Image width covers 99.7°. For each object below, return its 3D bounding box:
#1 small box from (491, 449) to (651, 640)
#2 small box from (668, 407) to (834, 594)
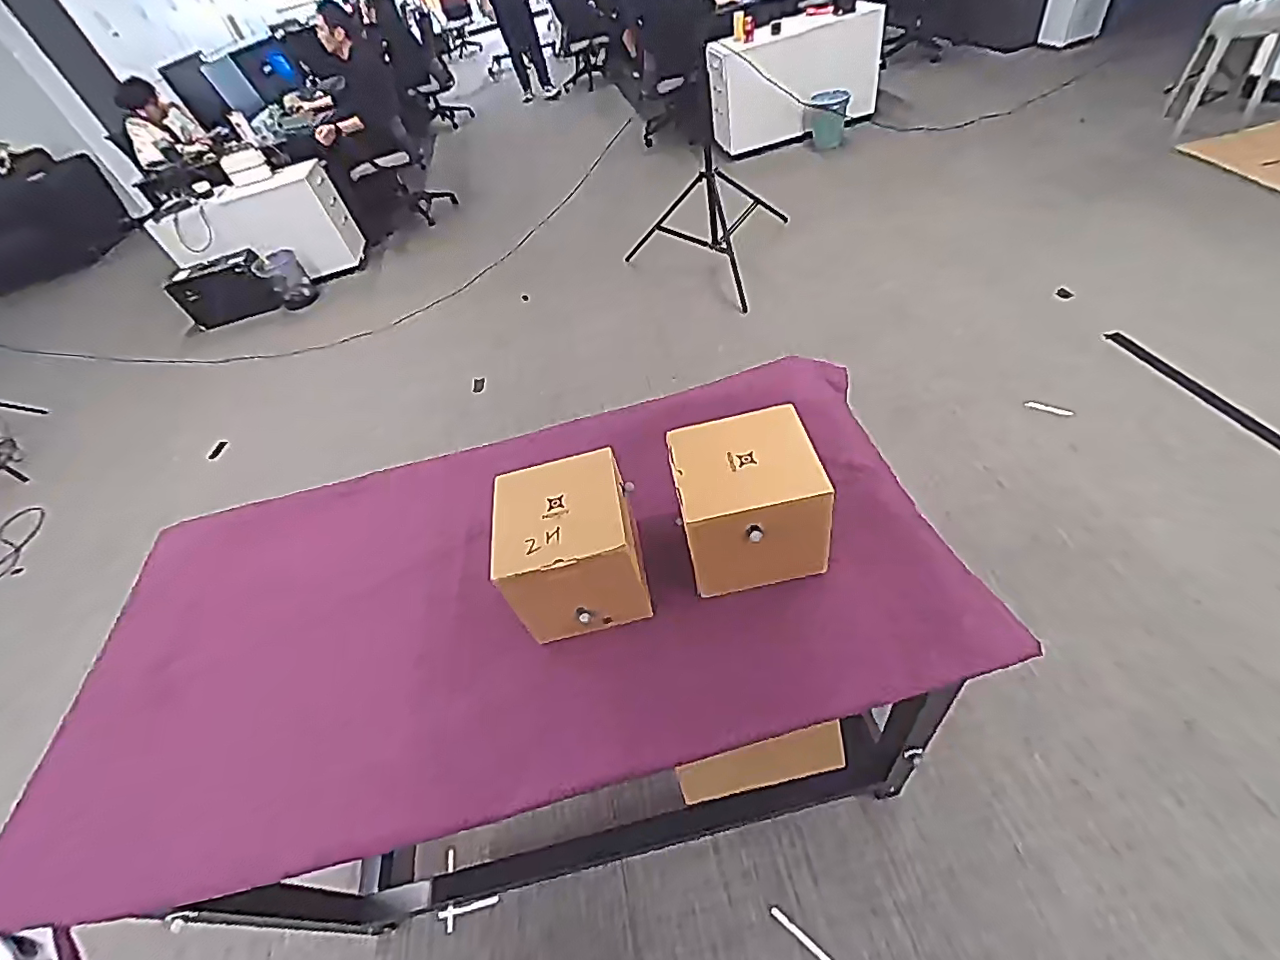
[{"bbox_3d":[-0.089,0.089,0.739,0.168,0.176,0.179,-15,46,3],"label":"small box"},{"bbox_3d":[0.144,0.031,0.732,0.179,0.176,0.168,-13,45,4],"label":"small box"}]
